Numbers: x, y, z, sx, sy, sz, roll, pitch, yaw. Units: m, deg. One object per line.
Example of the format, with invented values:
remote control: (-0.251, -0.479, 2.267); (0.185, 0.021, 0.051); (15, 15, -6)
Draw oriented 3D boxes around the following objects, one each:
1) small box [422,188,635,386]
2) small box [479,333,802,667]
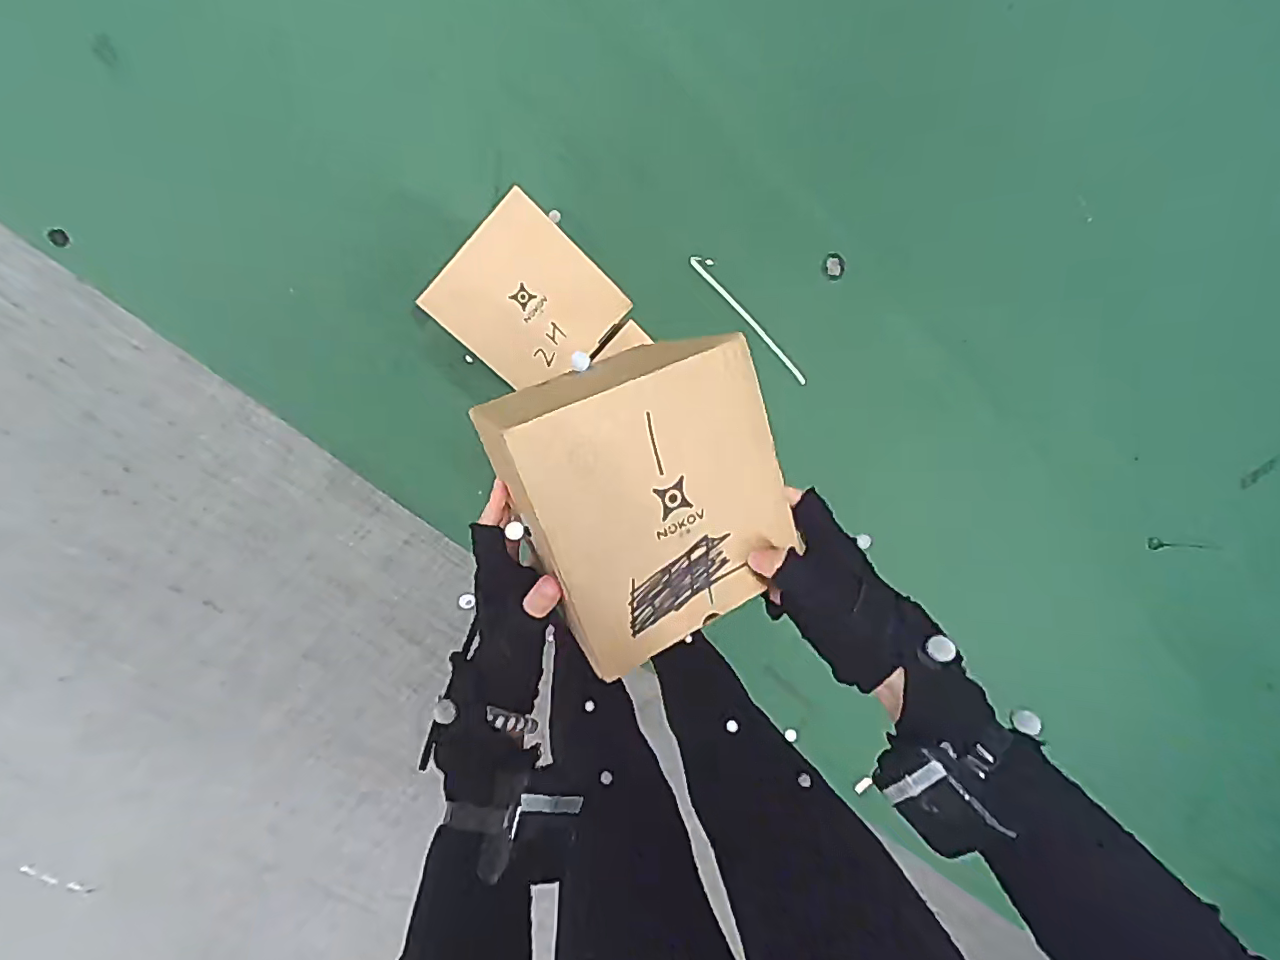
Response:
small box: (-0.135, -0.217, 0.674); (0.179, 0.176, 0.168); (42, 95, -18)
small box: (-0.009, -0.001, 0.417); (0.168, 0.176, 0.179); (-26, 109, -16)
